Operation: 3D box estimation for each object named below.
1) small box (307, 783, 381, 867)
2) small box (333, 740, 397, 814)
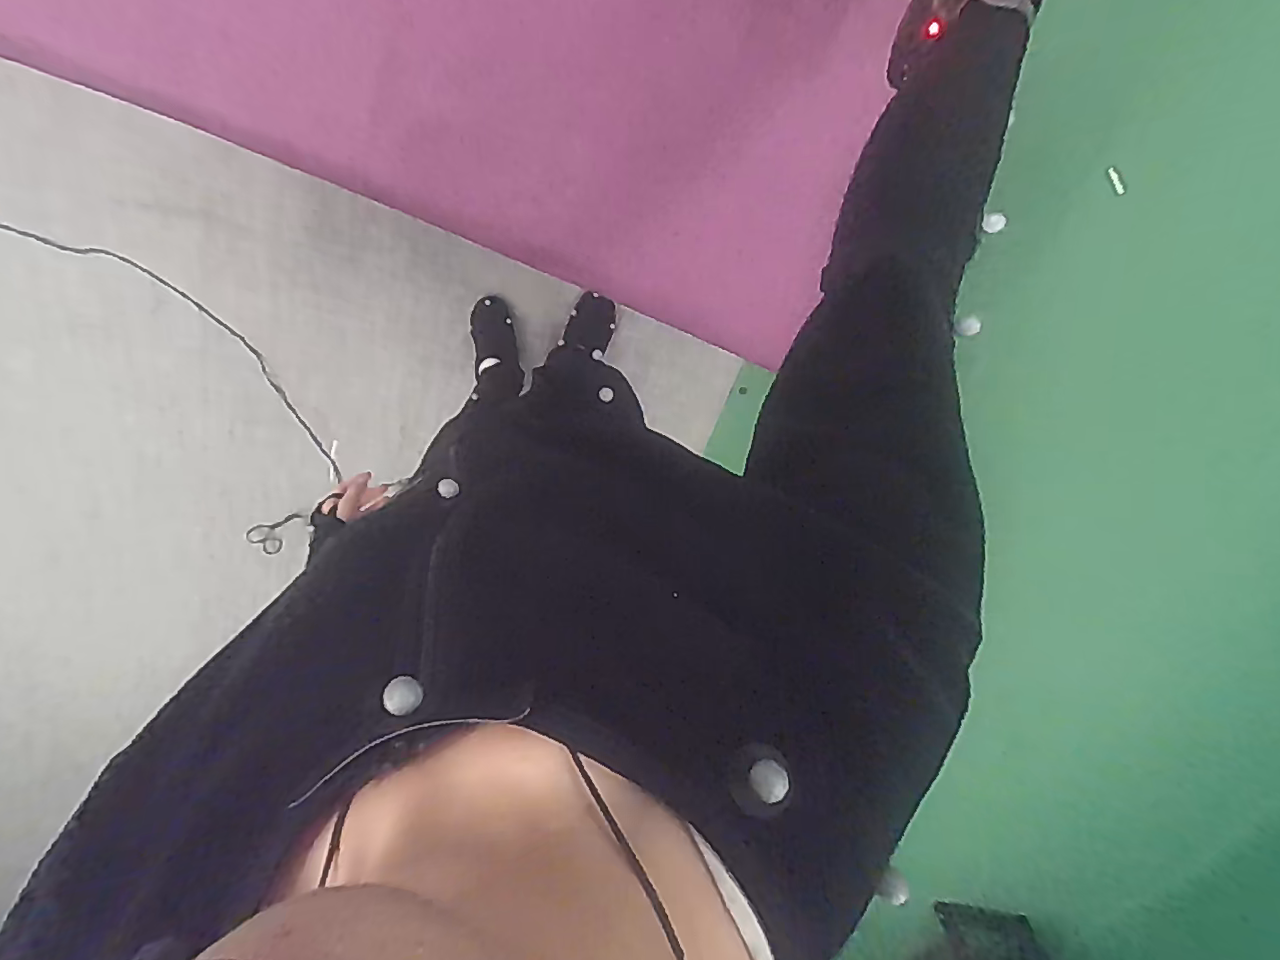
[{"bbox_3d":[-0.989,1.156,1.817,0.168,0.176,0.179,15,115,-10],"label":"small box"},{"bbox_3d":[-0.997,1.077,1.962,0.168,0.176,0.179,14,116,-10],"label":"small box"}]
